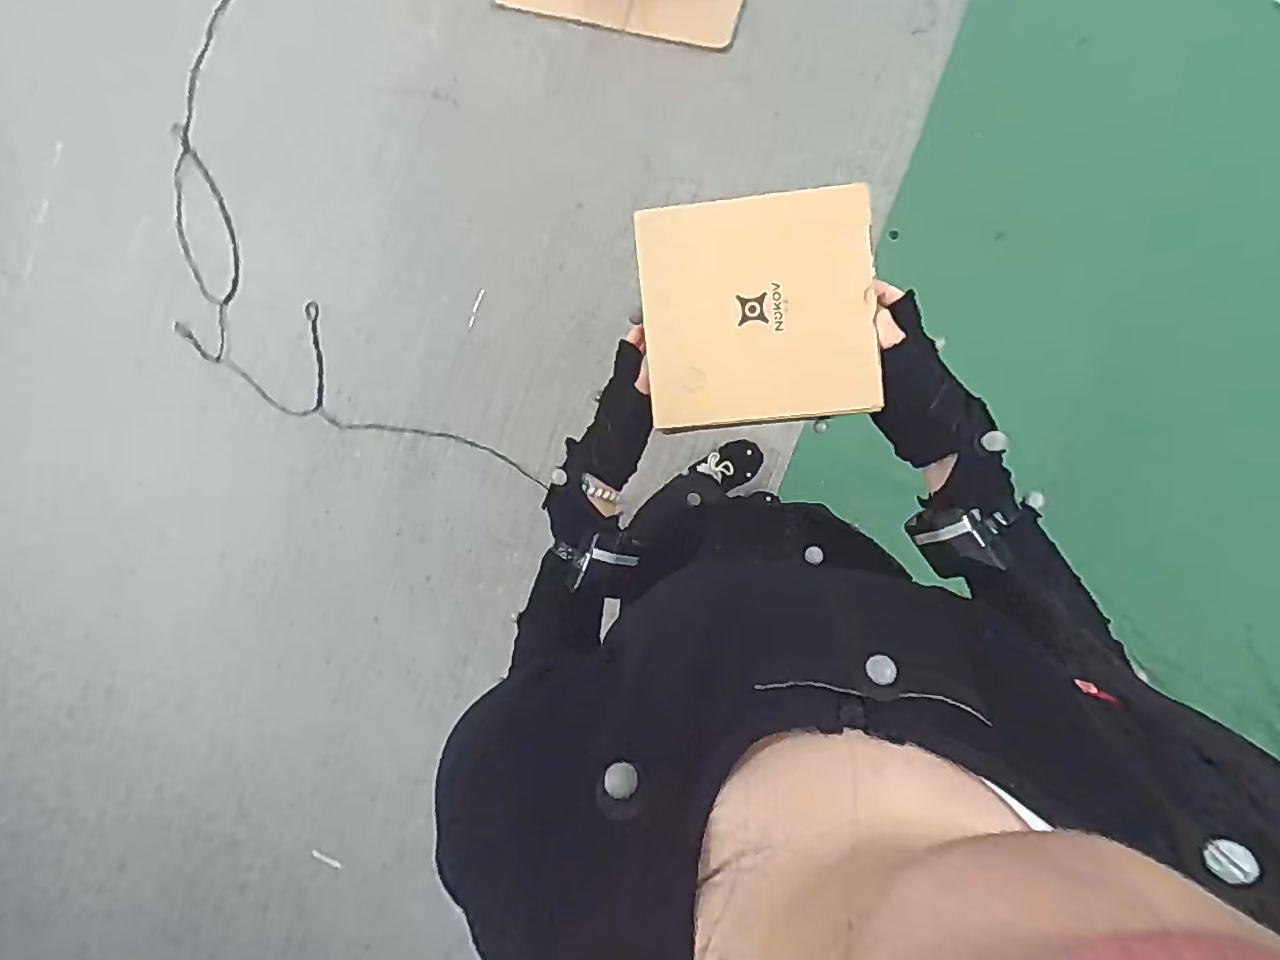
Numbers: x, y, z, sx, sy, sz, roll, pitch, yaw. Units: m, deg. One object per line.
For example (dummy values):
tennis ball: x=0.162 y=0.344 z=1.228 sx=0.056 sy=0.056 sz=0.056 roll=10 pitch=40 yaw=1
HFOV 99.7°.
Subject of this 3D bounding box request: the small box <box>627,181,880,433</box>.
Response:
small box: x=0.089 y=-0.133 z=0.482 sx=0.179 sy=0.176 sz=0.168 roll=-6 pitch=93 yaw=3
